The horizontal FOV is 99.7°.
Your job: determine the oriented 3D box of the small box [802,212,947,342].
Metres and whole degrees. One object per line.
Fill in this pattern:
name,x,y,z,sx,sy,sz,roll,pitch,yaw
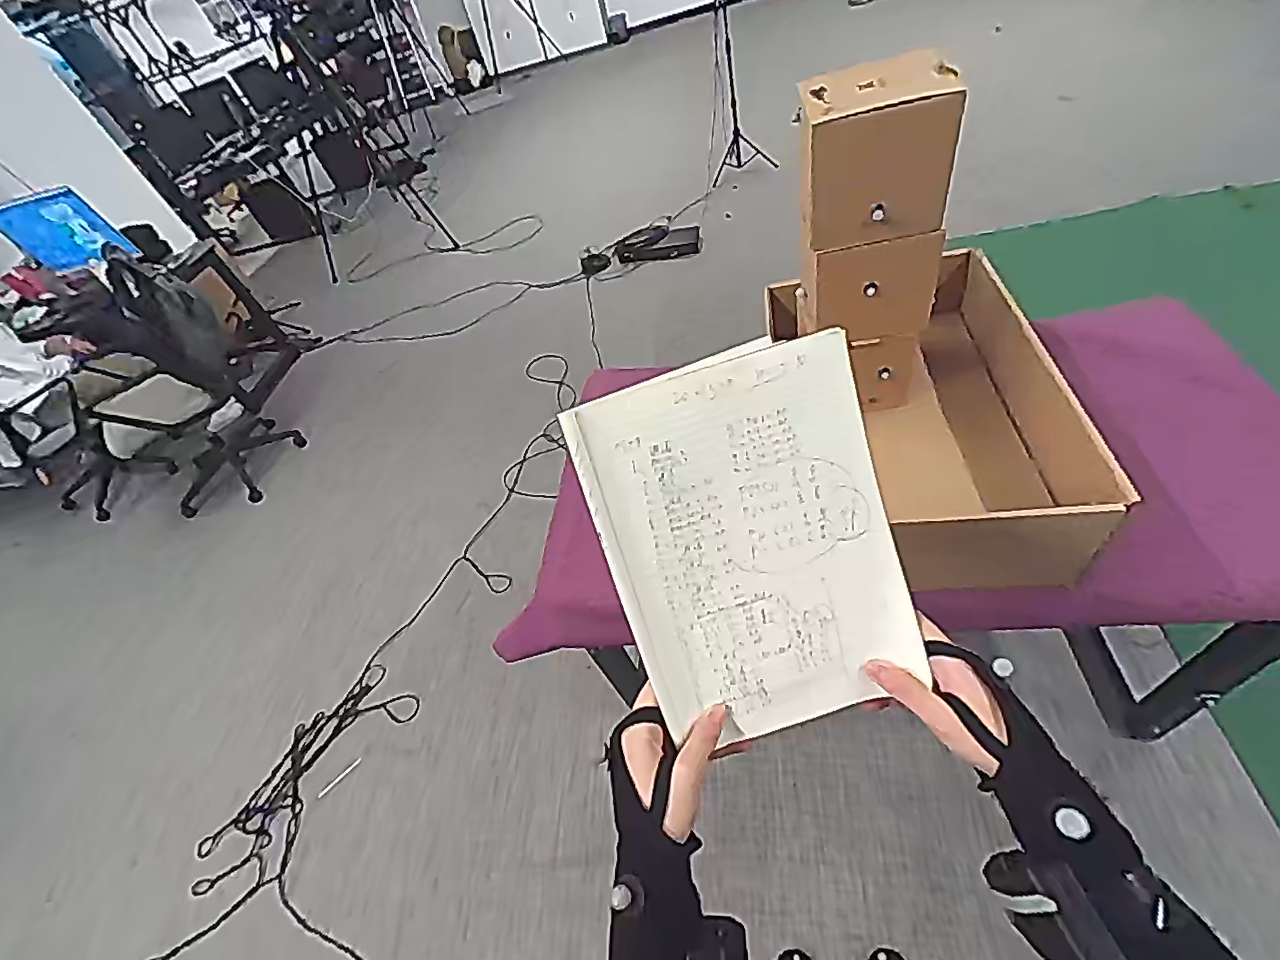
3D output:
small box,0.358,-0.345,0.866,0.179,0.176,0.168,-7,49,12

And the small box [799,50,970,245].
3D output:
small box,0.318,-0.451,0.747,0.179,0.176,0.168,-4,49,13
